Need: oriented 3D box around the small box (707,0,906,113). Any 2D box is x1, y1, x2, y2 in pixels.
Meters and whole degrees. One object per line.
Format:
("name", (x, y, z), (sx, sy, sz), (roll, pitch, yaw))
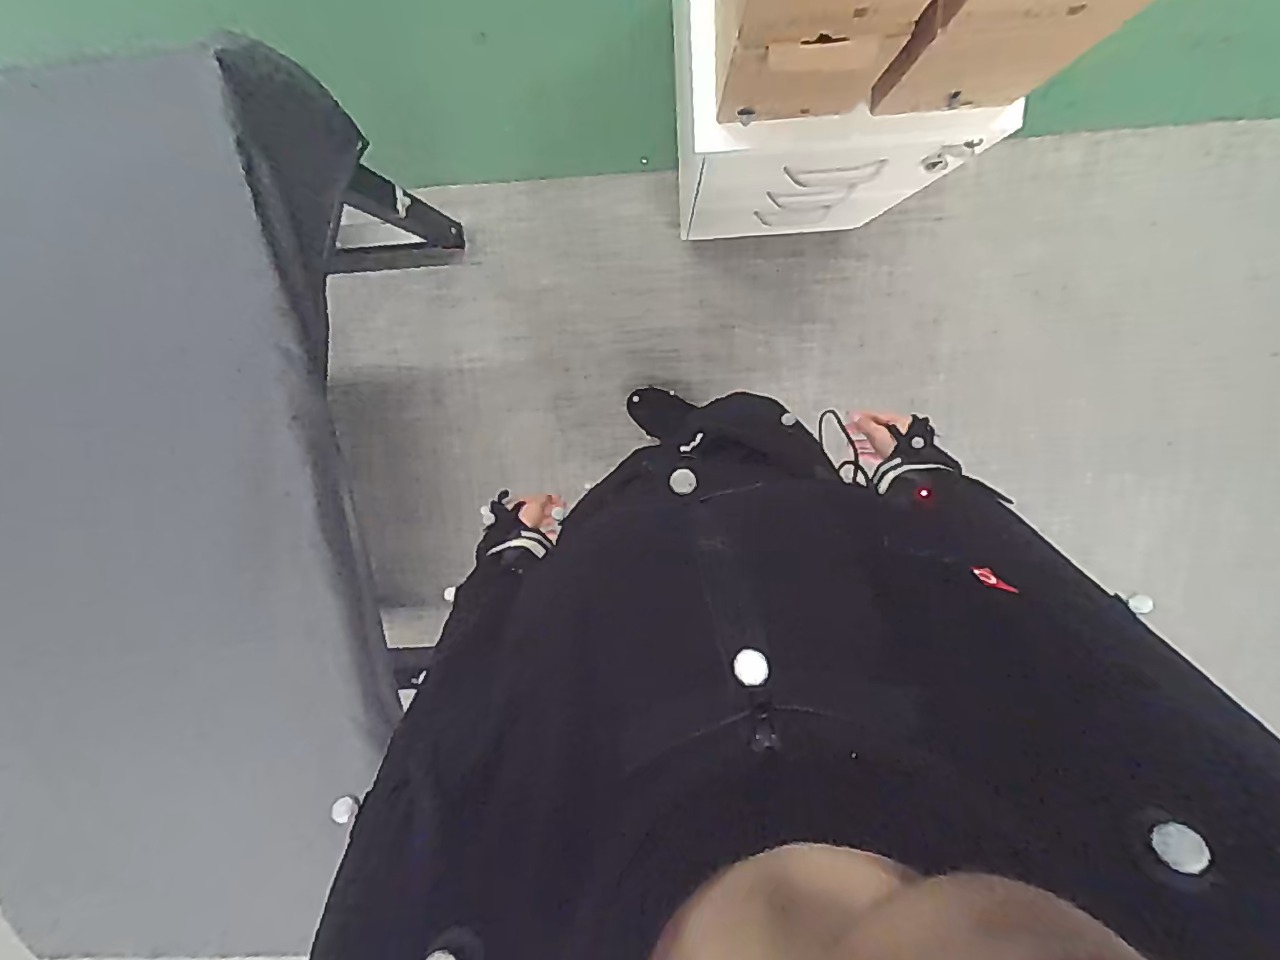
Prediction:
("small box", (0.161, -0.507, 0.559), (0.168, 0.176, 0.179), (-3, 102, 1))
